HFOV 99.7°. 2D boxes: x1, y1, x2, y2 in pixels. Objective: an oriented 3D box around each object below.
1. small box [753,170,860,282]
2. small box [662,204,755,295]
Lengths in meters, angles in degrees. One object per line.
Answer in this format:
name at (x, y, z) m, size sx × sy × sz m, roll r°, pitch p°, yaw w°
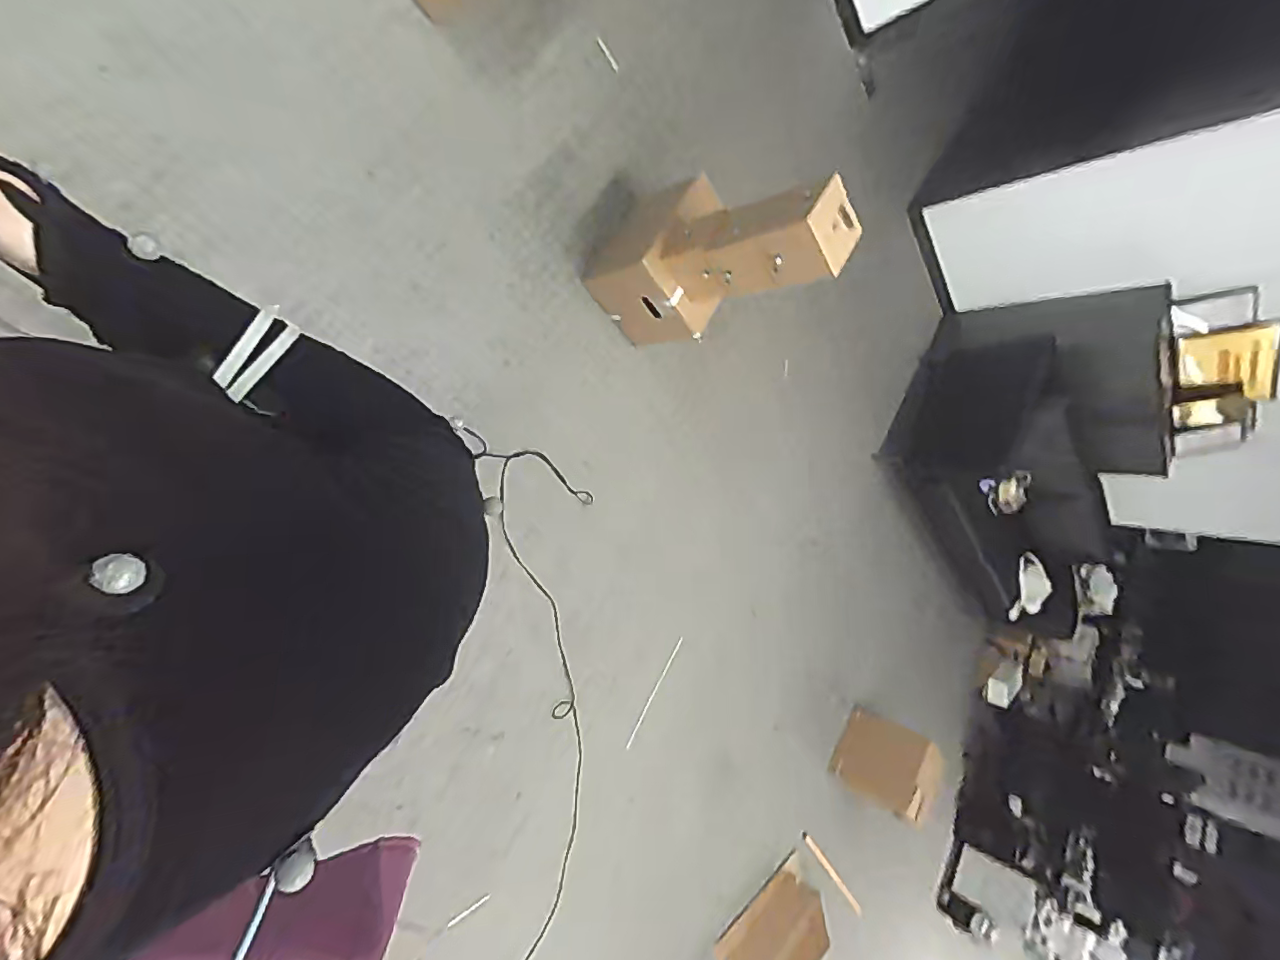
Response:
small box at (0.410, -0.623, 1.345) m, size 0.168 × 0.176 × 0.179 m, roll 44°, pitch 69°, yaw -34°
small box at (0.200, -0.669, 1.595) m, size 0.179 × 0.176 × 0.168 m, roll 41°, pitch 70°, yaw -35°
